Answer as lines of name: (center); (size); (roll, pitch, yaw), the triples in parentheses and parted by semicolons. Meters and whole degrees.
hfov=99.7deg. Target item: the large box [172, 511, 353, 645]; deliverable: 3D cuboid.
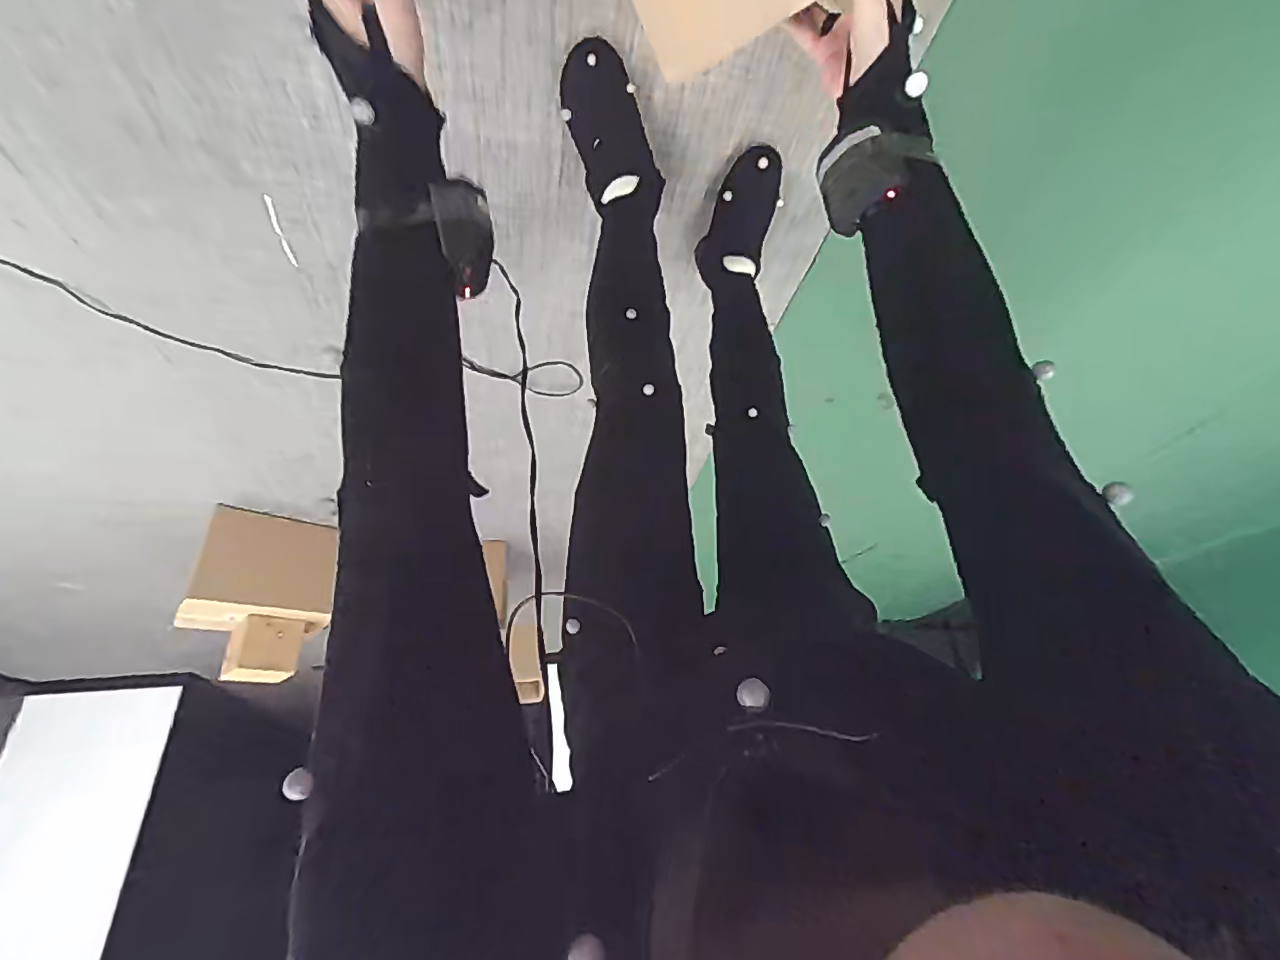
large box: (-1.251, 0.344, 1.819); (0.408, 0.320, 0.320); (22, 139, -36)

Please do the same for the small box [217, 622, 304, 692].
small box: (-1.203, 0.567, 1.723); (0.179, 0.176, 0.168); (-30, 141, 35)
